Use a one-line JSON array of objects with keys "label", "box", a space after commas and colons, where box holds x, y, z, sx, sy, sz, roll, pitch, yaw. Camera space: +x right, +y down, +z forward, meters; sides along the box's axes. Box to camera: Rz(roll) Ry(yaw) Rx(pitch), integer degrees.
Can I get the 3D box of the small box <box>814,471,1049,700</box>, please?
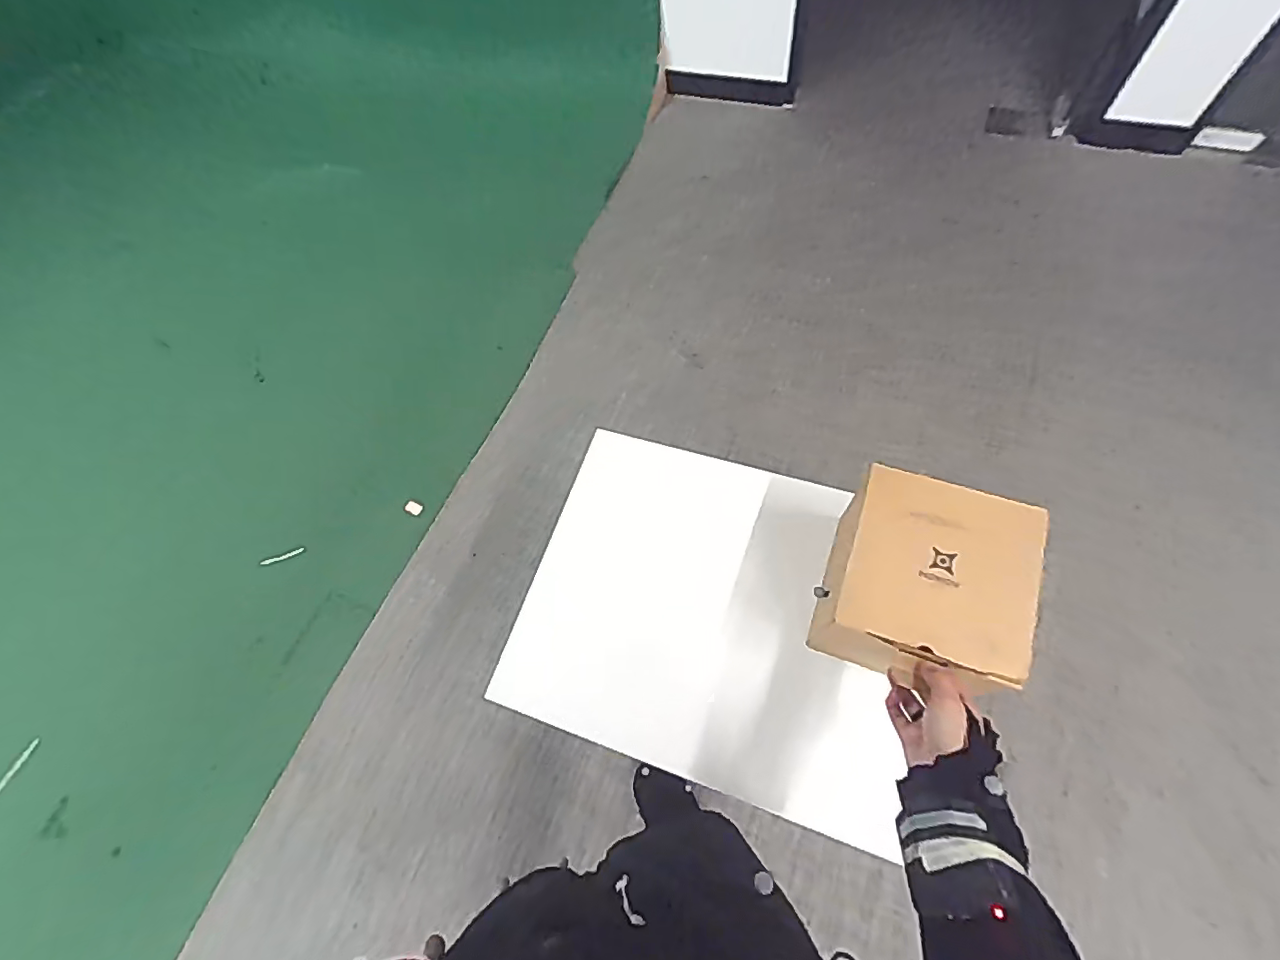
[{"label": "small box", "box": [0.295, 0.121, 0.580, 0.168, 0.176, 0.179, 17, 68, 15]}]
